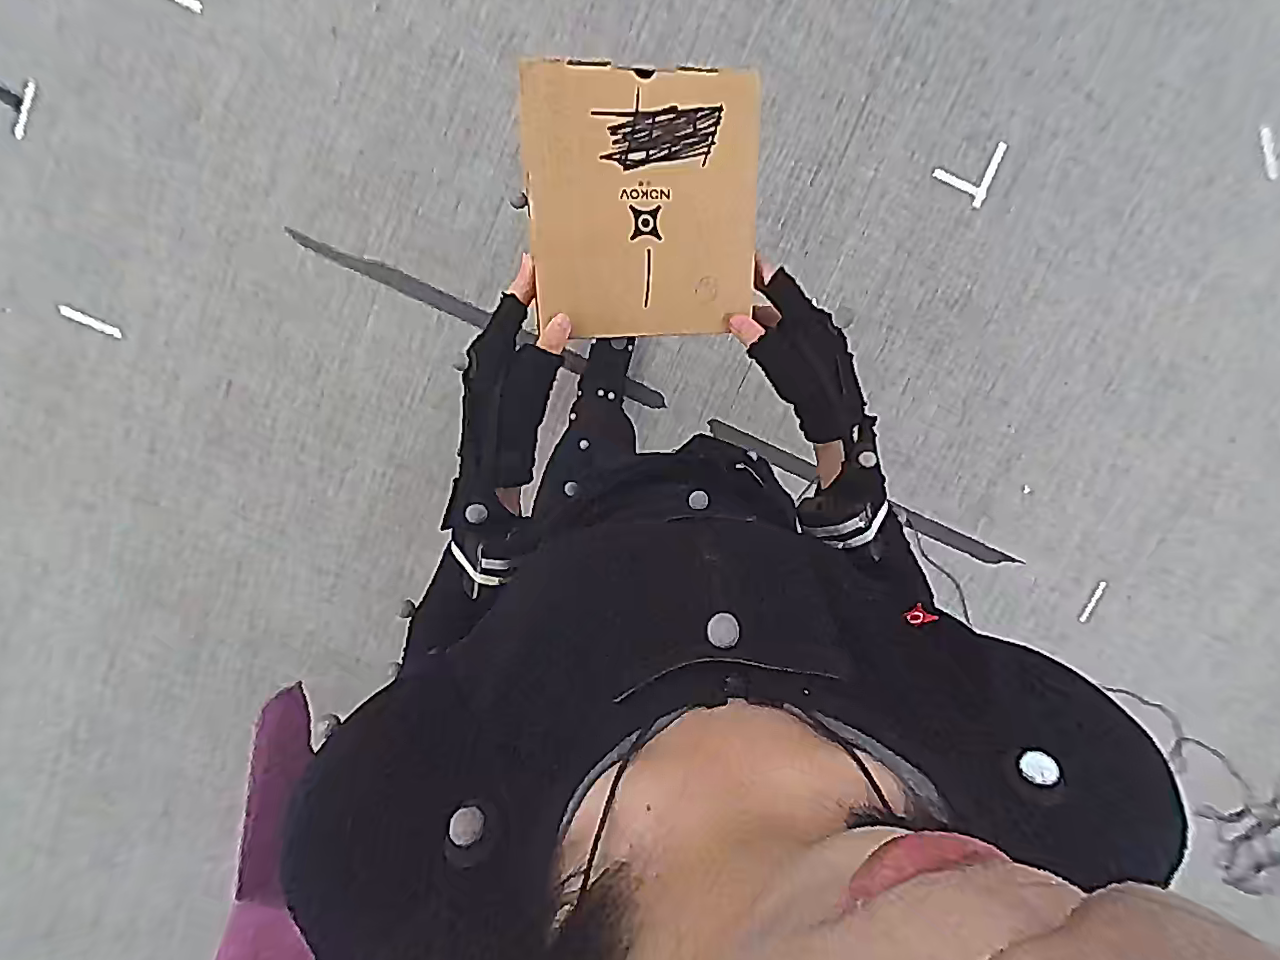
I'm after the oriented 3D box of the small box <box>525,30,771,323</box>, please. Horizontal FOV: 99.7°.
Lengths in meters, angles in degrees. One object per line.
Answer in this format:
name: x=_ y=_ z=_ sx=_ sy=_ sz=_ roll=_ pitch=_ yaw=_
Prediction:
small box: x=-0.006 y=-0.223 z=0.447 sx=0.168 sy=0.176 sz=0.179 roll=-4 pitch=108 yaw=-10
